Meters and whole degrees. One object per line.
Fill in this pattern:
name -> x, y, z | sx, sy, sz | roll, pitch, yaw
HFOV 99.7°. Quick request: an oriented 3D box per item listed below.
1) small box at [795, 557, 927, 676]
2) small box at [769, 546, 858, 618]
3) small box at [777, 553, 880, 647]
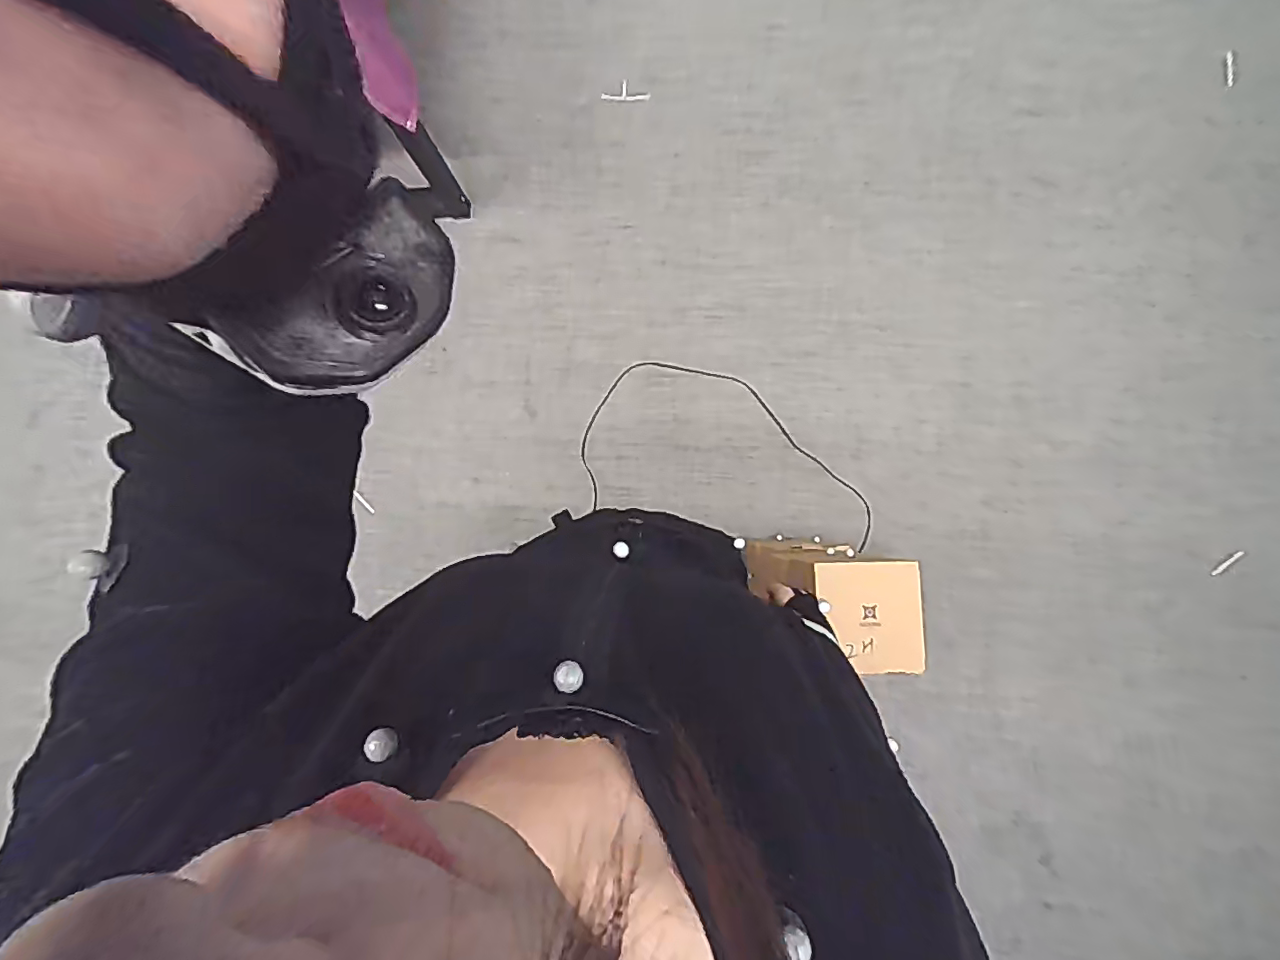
small box -> 0.366, 0.222, 0.923 | 0.168, 0.176, 0.179 | 0, 86, 3
small box -> 0.397, 0.242, 1.249 | 0.168, 0.176, 0.179 | -1, 87, 3
small box -> 0.377, 0.236, 1.087 | 0.179, 0.176, 0.168 | -1, 86, 2
